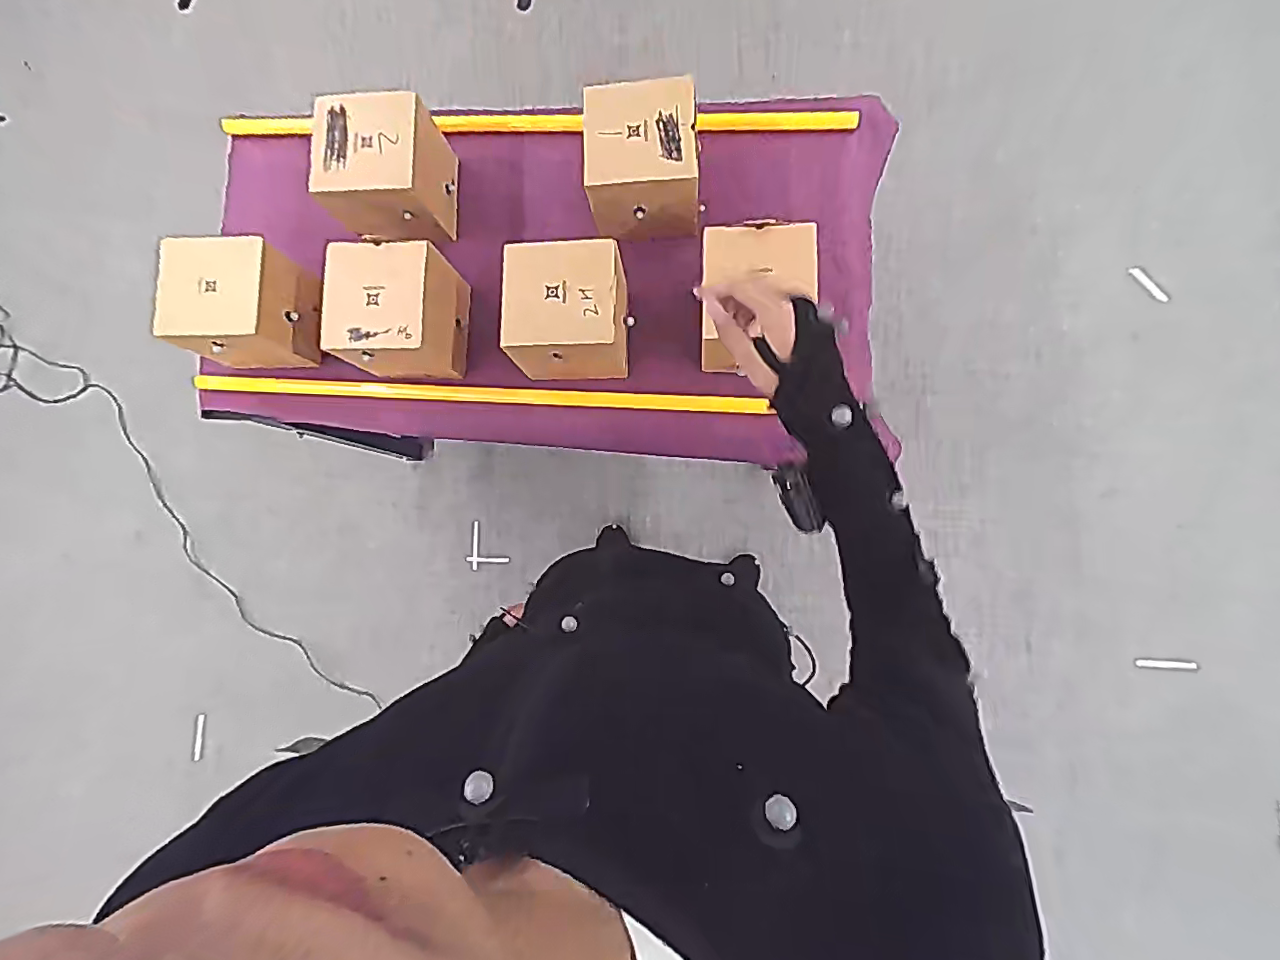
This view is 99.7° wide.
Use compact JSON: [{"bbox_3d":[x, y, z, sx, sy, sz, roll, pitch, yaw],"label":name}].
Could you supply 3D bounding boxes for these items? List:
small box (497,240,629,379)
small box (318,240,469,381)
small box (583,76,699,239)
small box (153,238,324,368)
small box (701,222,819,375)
[{"bbox_3d":[-0.116,-0.267,0.882,0.179,0.176,0.168,0,83,5],"label":"small box"},{"bbox_3d":[-0.401,-0.277,0.909,0.168,0.176,0.179,1,84,7],"label":"small box"},{"bbox_3d":[0.007,-0.520,0.894,0.179,0.176,0.168,-1,86,6],"label":"small box"},{"bbox_3d":[-0.680,-0.299,0.938,0.179,0.176,0.168,0,84,4],"label":"small box"},{"bbox_3d":[0.181,-0.277,0.853,0.168,0.176,0.179,1,83,7],"label":"small box"}]
